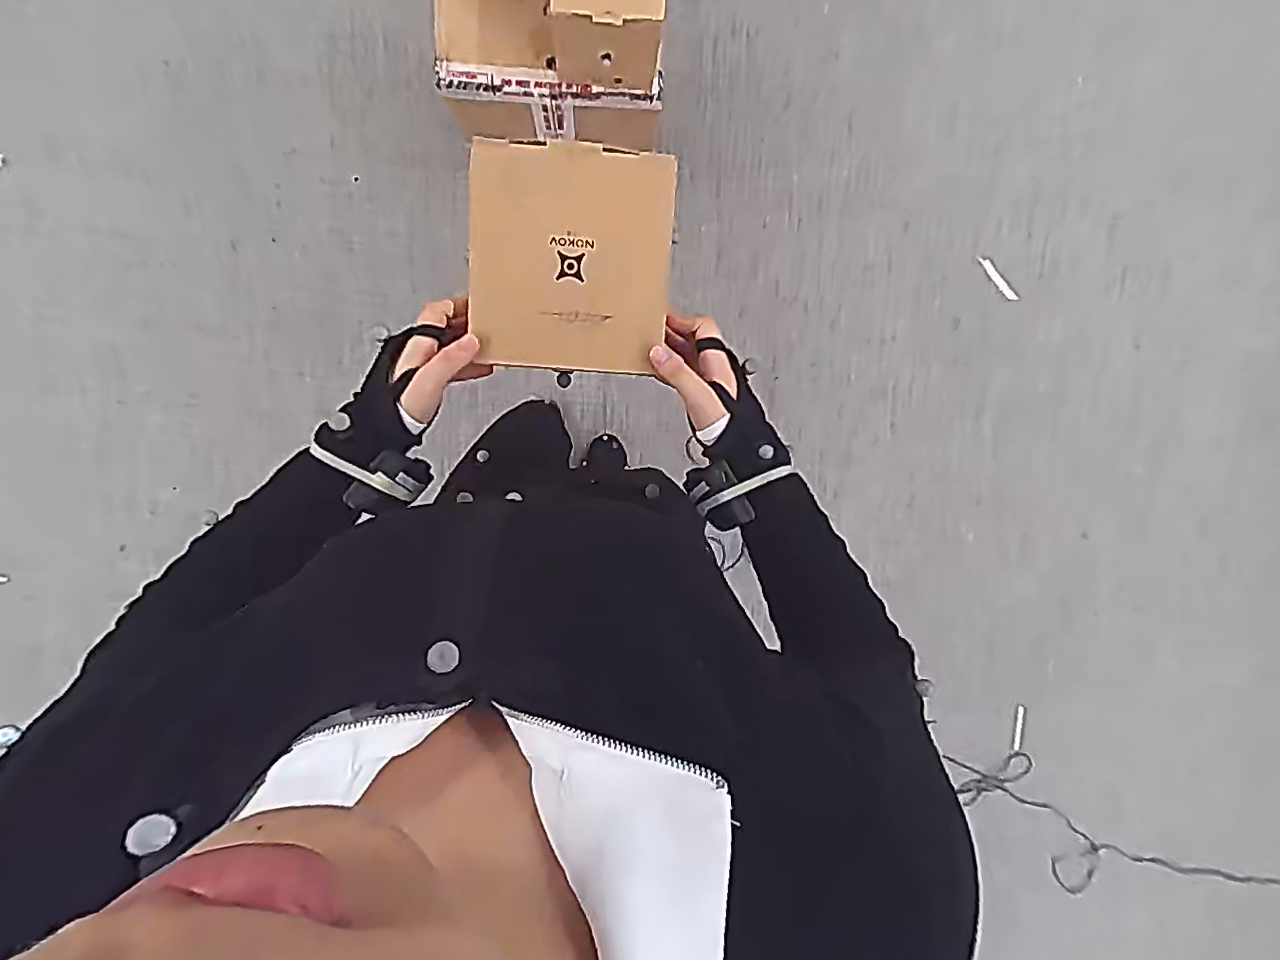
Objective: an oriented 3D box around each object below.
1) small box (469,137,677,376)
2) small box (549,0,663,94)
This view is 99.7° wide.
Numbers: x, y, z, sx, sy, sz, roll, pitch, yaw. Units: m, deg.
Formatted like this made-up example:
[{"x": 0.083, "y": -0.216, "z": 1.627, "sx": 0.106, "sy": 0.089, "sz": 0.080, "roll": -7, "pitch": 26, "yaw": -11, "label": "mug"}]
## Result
[{"x": -0.061, "y": -0.195, "z": 0.522, "sx": 0.168, "sy": 0.176, "sz": 0.179, "roll": 3, "pitch": 101, "yaw": -3, "label": "small box"}, {"x": -0.050, "y": -0.743, "z": 0.845, "sx": 0.168, "sy": 0.176, "sz": 0.179, "roll": 2, "pitch": 98, "yaw": -5, "label": "small box"}]
